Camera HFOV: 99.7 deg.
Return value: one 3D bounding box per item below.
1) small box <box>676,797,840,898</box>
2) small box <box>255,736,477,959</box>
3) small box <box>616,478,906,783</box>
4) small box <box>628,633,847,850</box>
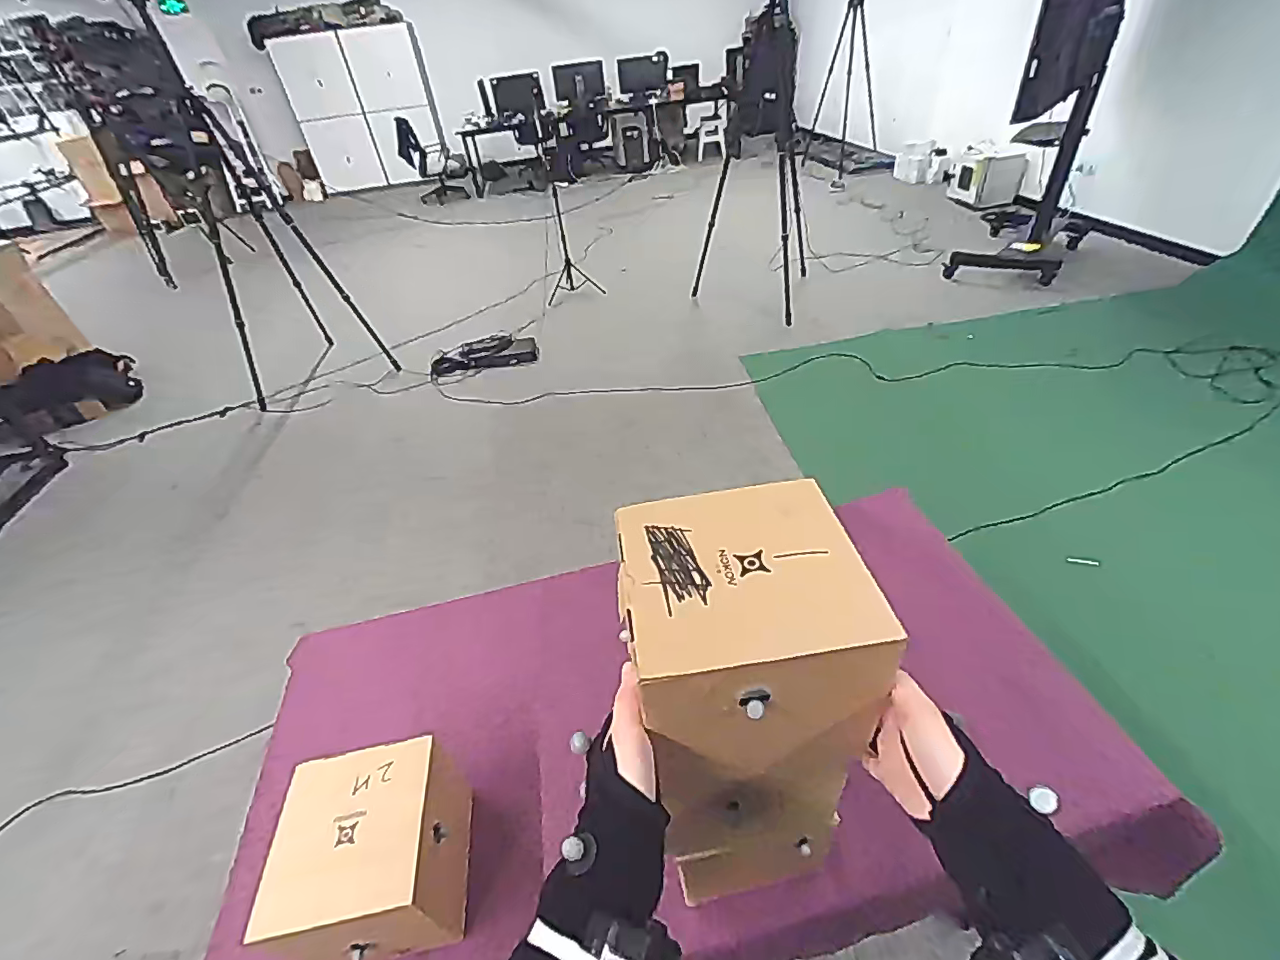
[{"bbox_3d":[0.119,0.373,0.657,0.179,0.176,0.168,-12,40,-4],"label":"small box"},{"bbox_3d":[-0.303,0.443,0.647,0.168,0.176,0.179,-11,40,-3],"label":"small box"},{"bbox_3d":[0.083,0.124,0.445,0.179,0.176,0.168,-9,40,-2],"label":"small box"},{"bbox_3d":[0.092,0.249,0.551,0.179,0.176,0.168,-10,40,-1],"label":"small box"}]
